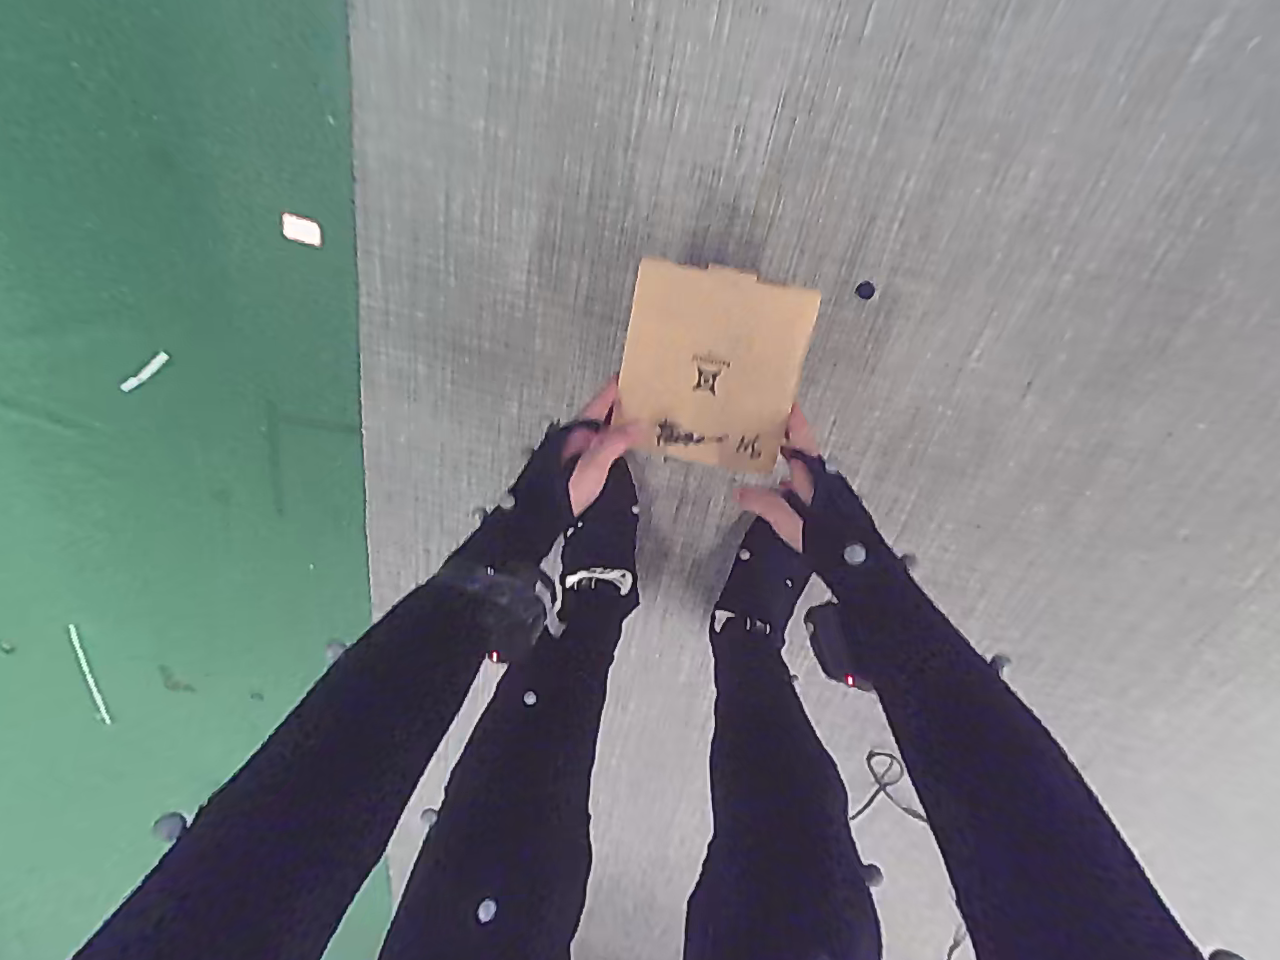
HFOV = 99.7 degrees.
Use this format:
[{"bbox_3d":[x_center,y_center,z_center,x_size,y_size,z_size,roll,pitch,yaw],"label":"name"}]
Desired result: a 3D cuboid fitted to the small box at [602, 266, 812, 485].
[{"bbox_3d":[0.063,-0.112,0.577,0.168,0.176,0.179,12,105,2],"label":"small box"}]
